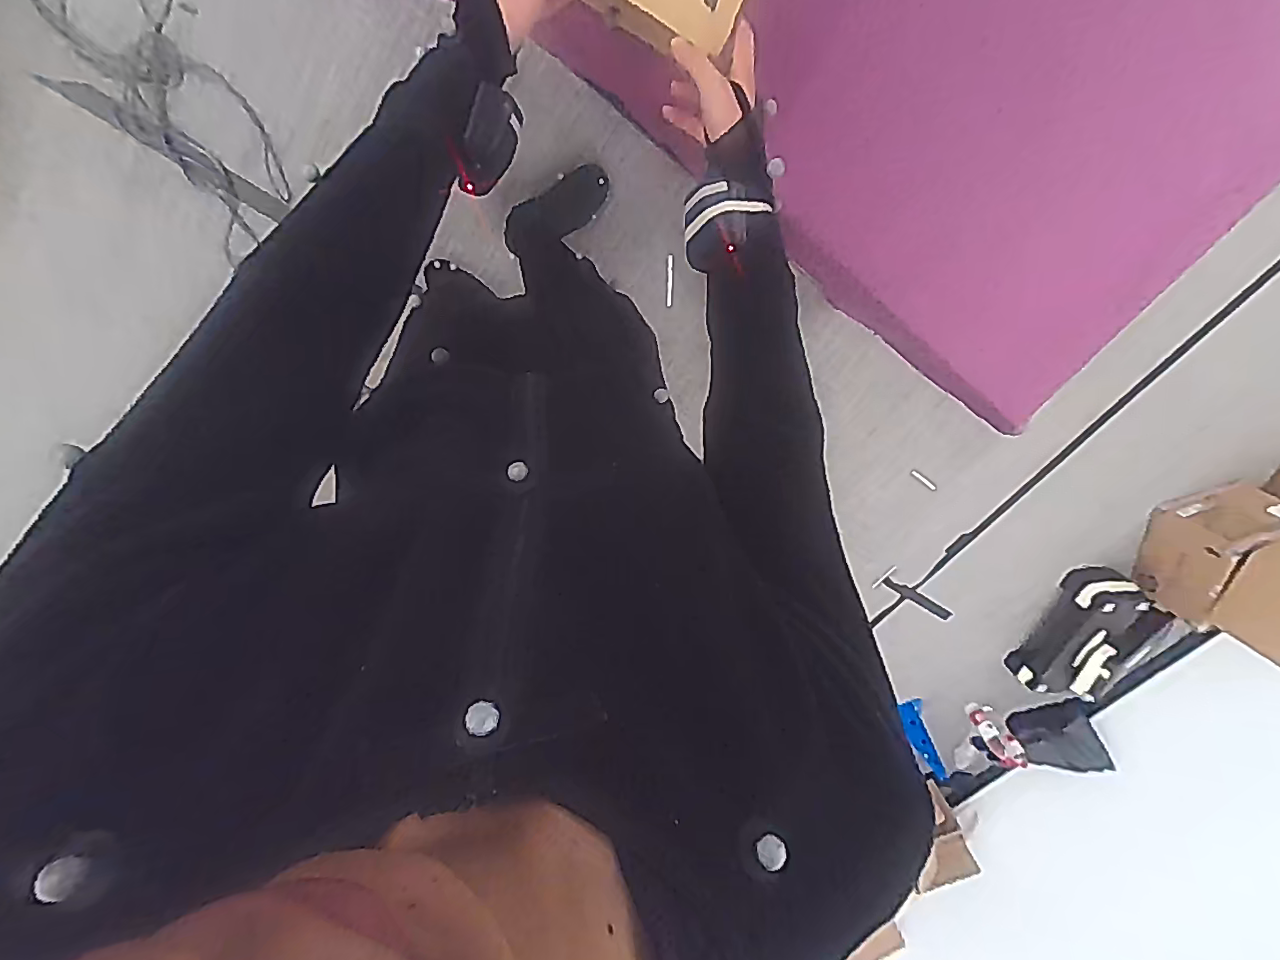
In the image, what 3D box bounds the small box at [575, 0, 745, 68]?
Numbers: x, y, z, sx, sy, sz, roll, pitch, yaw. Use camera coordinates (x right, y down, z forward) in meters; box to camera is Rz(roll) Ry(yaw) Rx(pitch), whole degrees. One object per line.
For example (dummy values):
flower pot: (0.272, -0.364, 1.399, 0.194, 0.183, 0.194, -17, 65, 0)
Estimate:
small box: (0.013, -0.511, 0.486, 0.179, 0.176, 0.168, 16, 122, -23)
